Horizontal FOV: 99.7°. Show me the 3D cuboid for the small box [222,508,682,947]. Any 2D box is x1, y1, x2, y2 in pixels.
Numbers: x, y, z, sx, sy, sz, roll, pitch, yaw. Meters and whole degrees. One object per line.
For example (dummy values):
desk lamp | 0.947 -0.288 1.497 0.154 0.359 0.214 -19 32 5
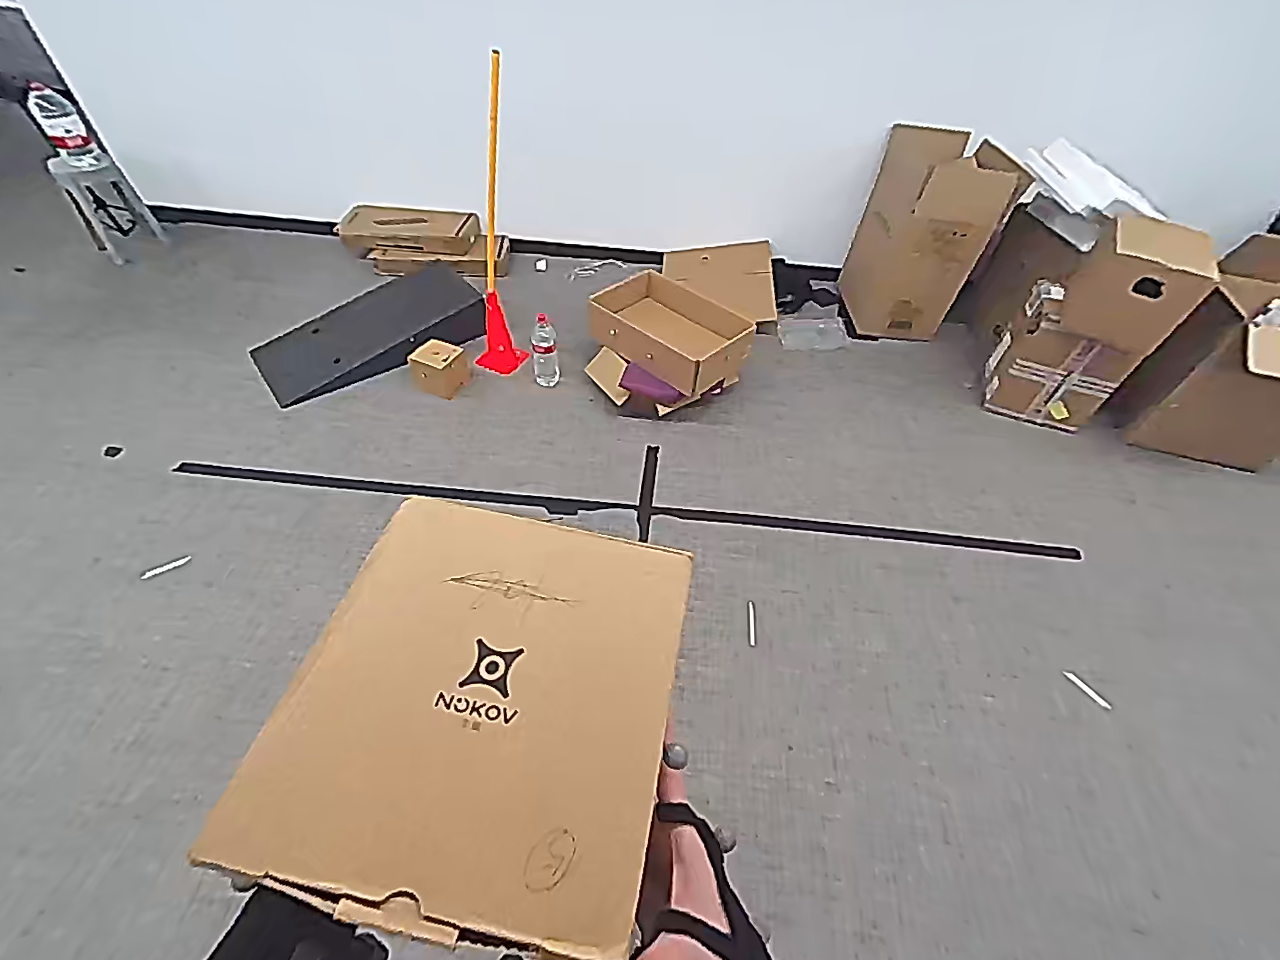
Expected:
small box | -0.075 0.146 0.319 0.168 0.176 0.179 11 48 3
